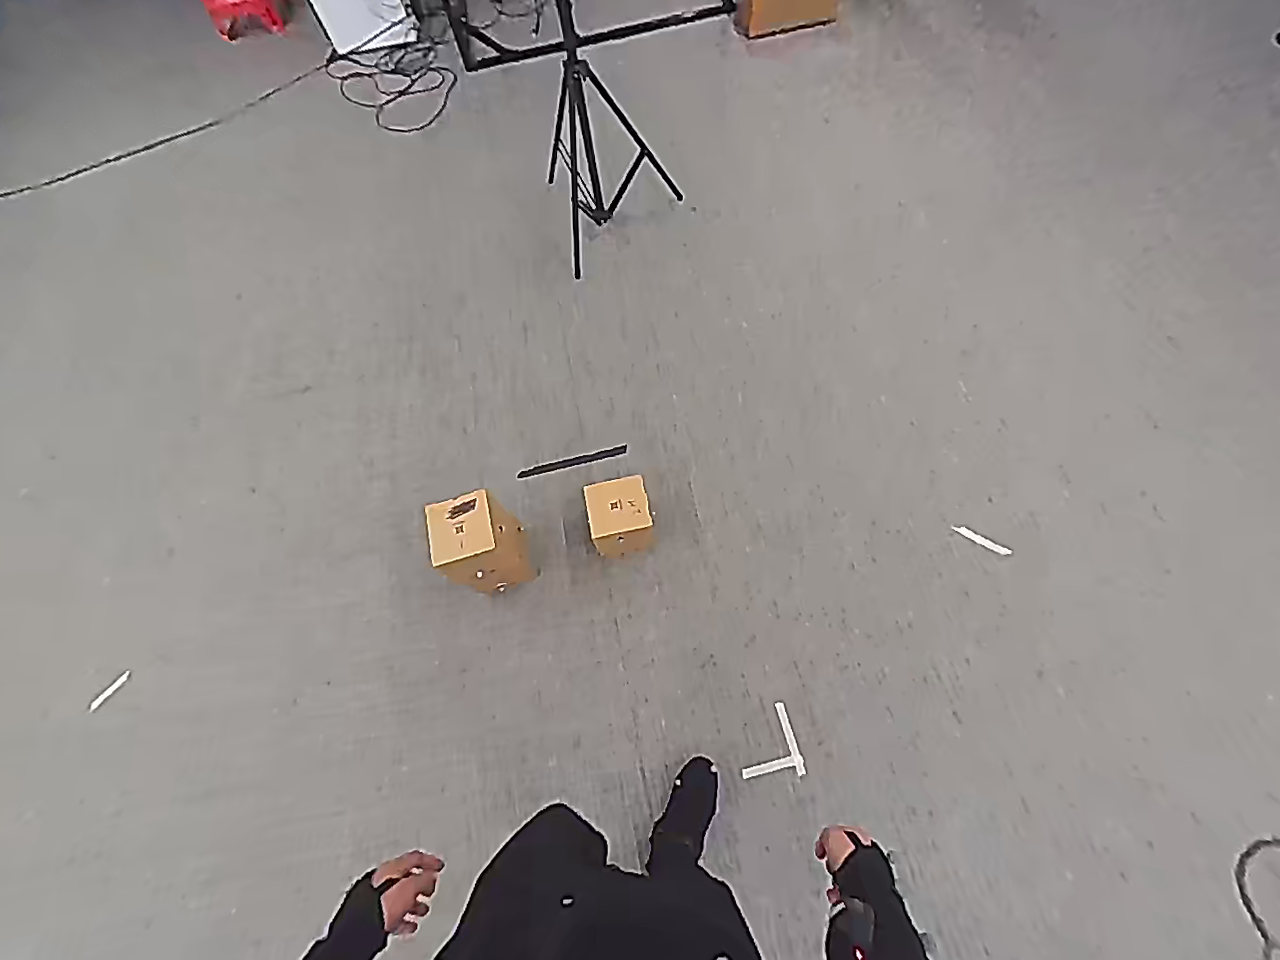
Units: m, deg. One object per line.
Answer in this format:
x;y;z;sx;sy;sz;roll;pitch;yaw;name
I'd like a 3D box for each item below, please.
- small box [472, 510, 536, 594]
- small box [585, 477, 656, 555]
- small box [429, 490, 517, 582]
-0.420;0.217;1.599;0.168;0.176;0.179;-18;64;-2;small box
-0.054;0.112;1.606;0.179;0.176;0.168;-11;65;0;small box
-0.444;0.154;1.449;0.168;0.176;0.179;-17;65;-1;small box
